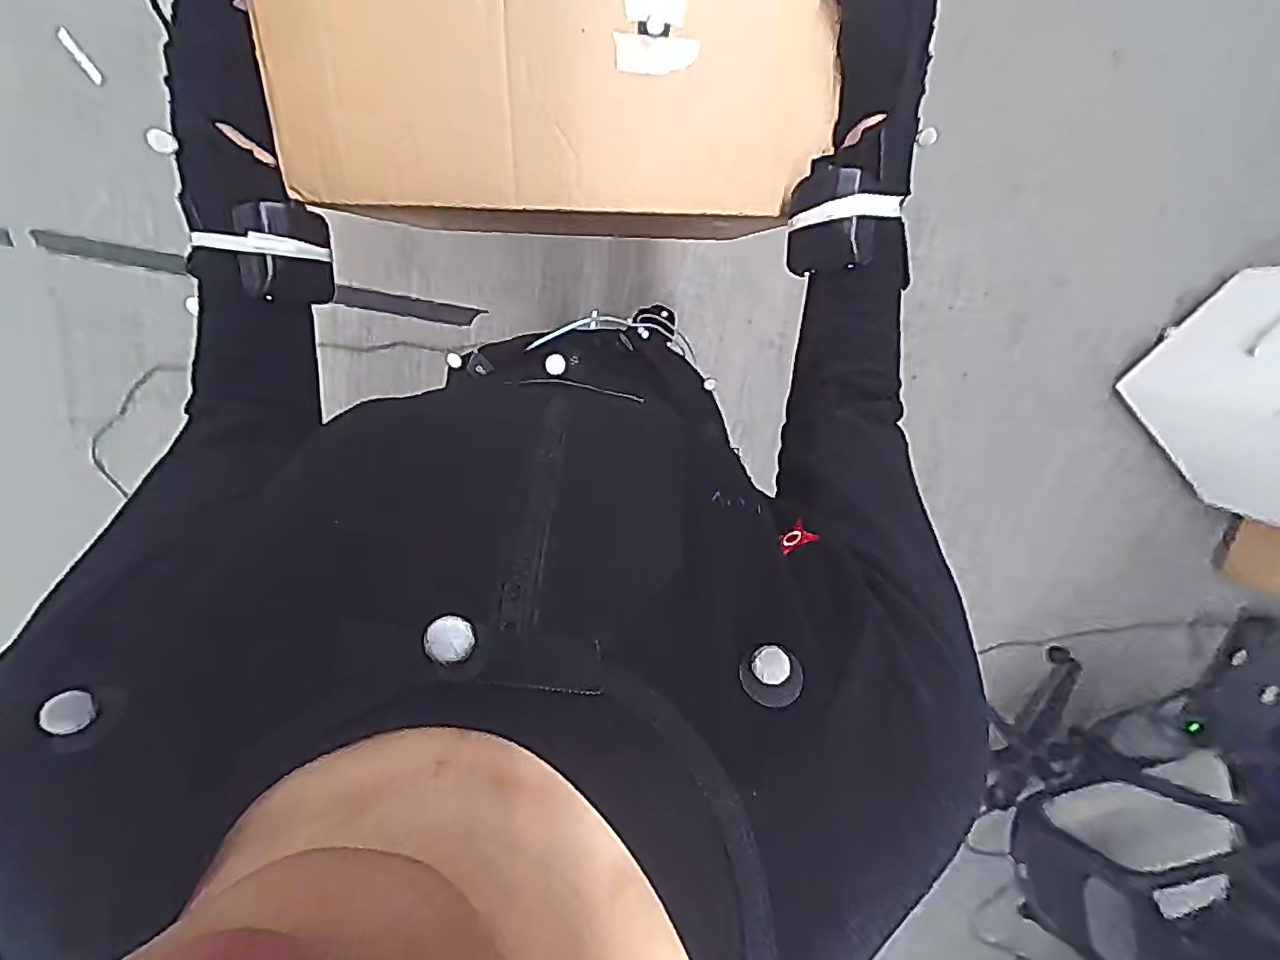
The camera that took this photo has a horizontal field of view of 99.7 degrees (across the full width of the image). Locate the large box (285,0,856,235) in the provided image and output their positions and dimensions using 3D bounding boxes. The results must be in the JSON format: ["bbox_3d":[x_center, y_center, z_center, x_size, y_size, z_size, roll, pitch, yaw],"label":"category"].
[{"bbox_3d":[-0.053,-0.410,0.506,0.408,0.320,0.320,0,112,-4],"label":"large box"}]
